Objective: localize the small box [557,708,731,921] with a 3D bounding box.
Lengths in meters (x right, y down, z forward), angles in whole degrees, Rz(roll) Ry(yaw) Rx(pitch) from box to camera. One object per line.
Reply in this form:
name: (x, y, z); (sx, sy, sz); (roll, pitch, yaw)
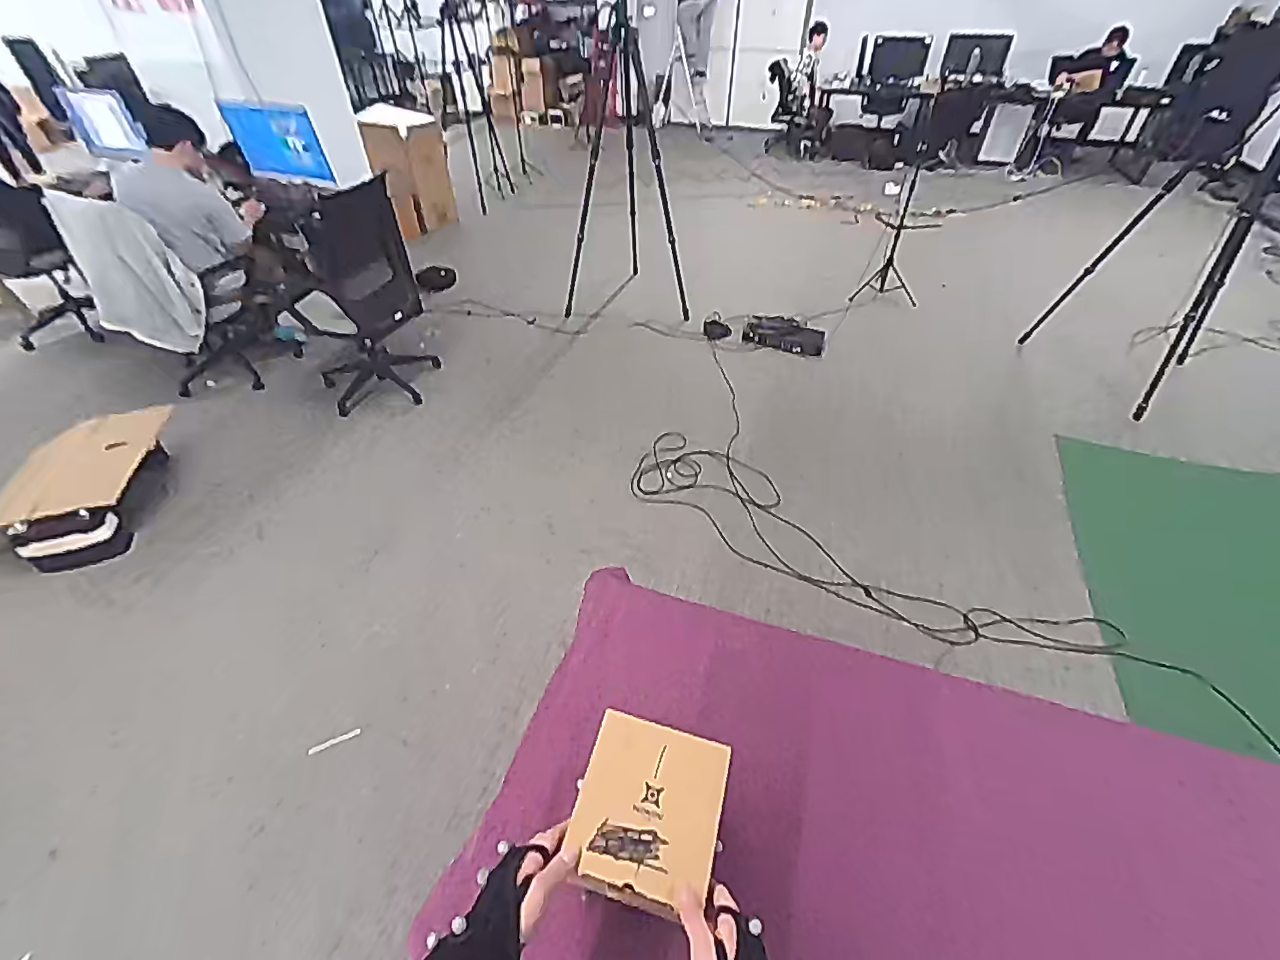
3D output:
small box: (0.009, 0.427, 0.687); (0.168, 0.176, 0.179); (14, 48, 10)
